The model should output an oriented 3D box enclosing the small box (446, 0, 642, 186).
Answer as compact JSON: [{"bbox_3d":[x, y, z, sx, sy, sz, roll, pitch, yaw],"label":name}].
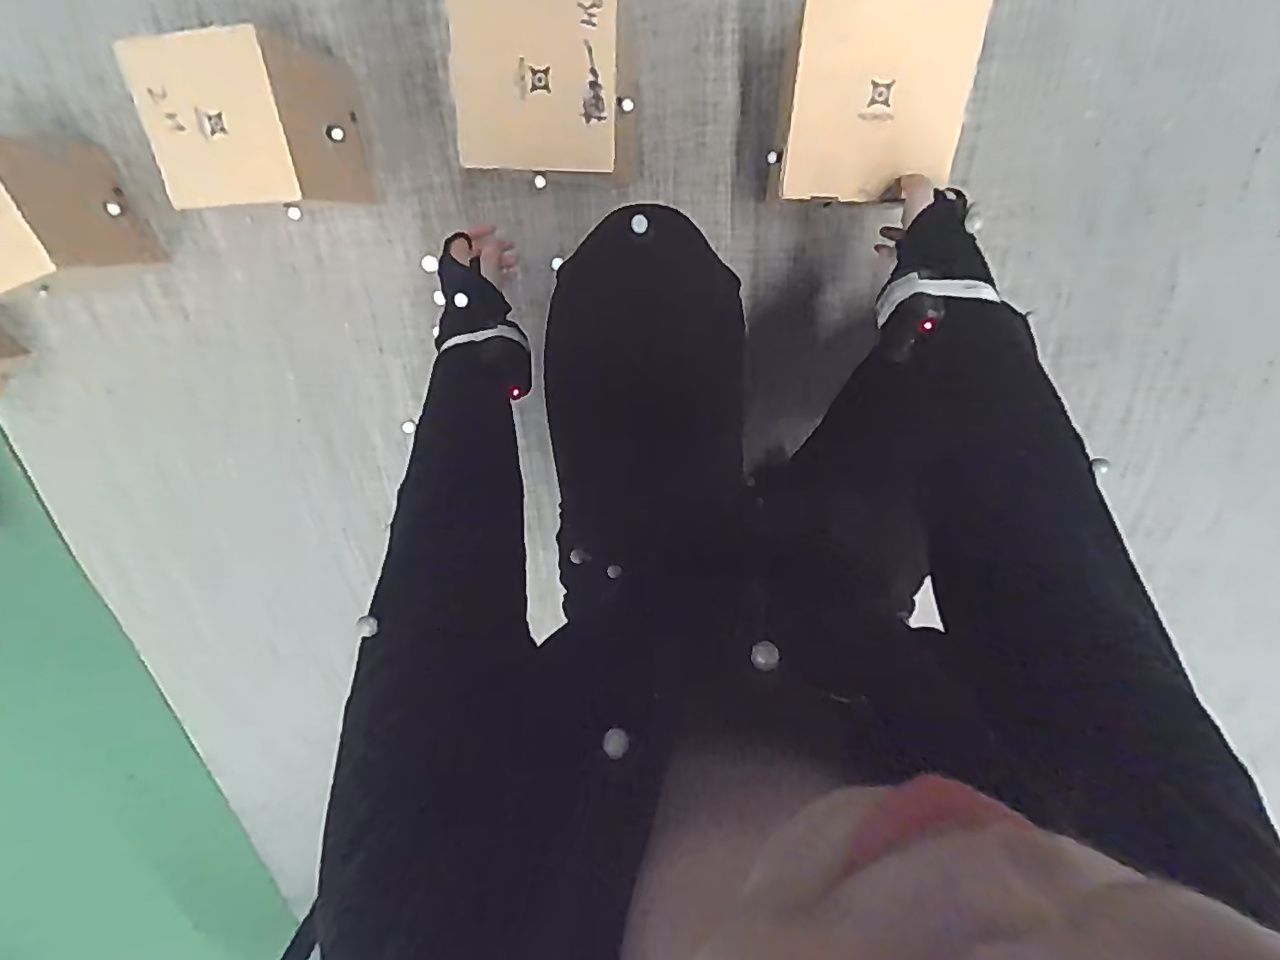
[{"bbox_3d":[-0.100,-0.443,0.628,0.179,0.176,0.168,6,115,6],"label":"small box"}]

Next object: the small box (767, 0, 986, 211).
[{"bbox_3d":[0.239,-0.402,0.601,0.168,0.176,0.179,5,116,6],"label":"small box"}]

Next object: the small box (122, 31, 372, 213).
[{"bbox_3d":[-0.470,-0.435,0.685,0.179,0.176,0.168,1,114,8],"label":"small box"}]

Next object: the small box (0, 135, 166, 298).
[{"bbox_3d":[-0.852,-0.365,0.772,0.179,0.176,0.168,-11,112,12],"label":"small box"}]
